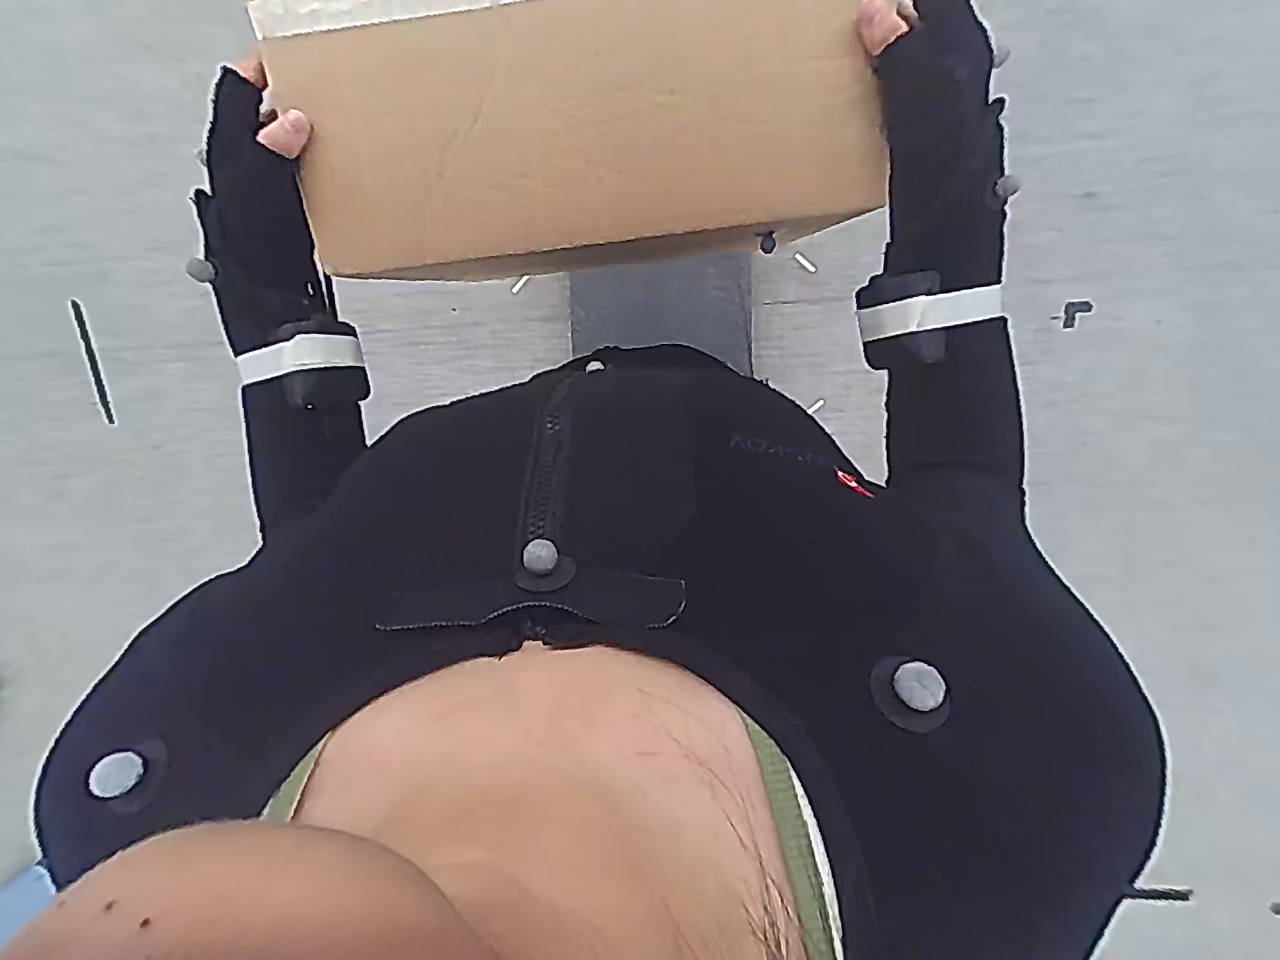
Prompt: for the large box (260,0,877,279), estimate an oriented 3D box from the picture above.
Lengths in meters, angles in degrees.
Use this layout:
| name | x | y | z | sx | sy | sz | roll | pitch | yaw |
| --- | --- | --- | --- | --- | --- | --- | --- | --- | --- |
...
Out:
| name | x | y | z | sx | sy | sz | roll | pitch | yaw |
| --- | --- | --- | --- | --- | --- | --- | --- | --- | --- |
| large box | -0.044 | -0.367 | 0.486 | 0.408 | 0.320 | 0.320 | -6 | 109 | 3 |
